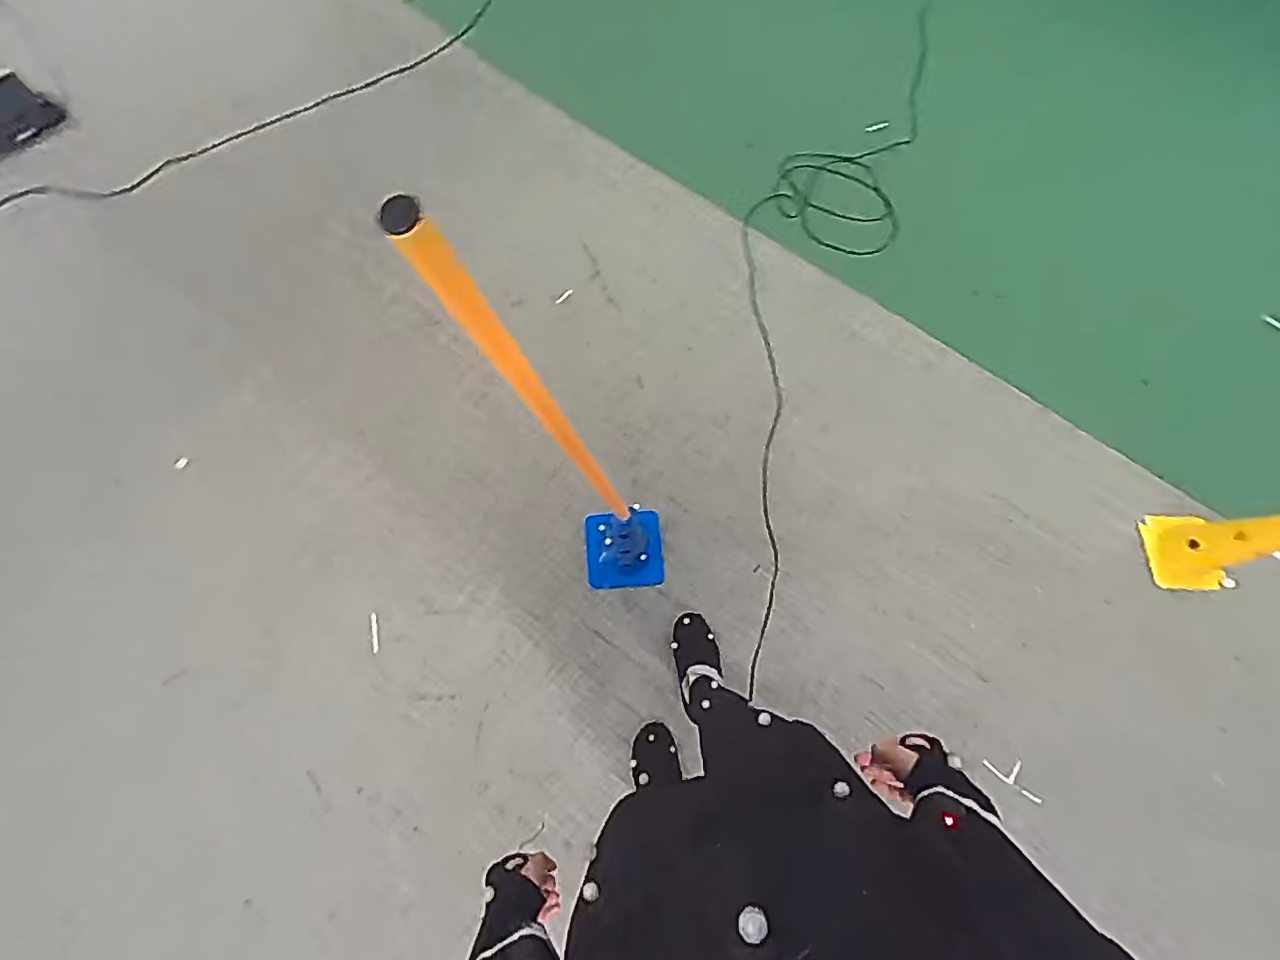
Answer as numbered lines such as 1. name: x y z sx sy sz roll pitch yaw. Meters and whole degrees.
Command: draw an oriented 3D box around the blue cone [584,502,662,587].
1. blue cone: -0.041 0.125 1.232 0.193 0.380 0.192 -6 73 -3
